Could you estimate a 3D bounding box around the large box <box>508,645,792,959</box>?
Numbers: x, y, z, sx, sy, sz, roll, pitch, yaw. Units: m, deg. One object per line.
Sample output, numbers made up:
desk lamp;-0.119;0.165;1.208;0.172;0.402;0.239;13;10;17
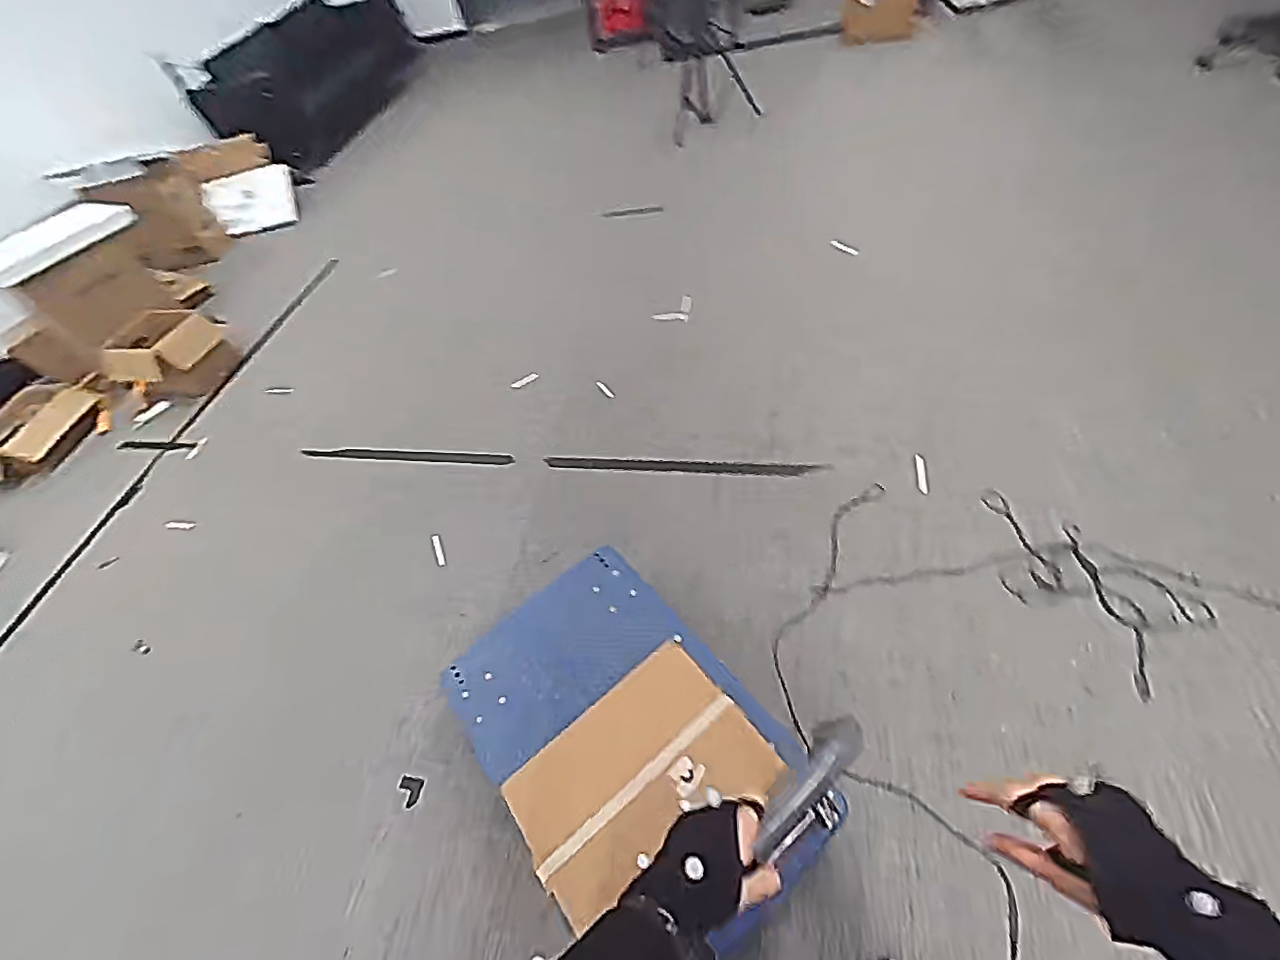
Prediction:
large box;0.035;0.608;1.025;0.408;0.320;0.320;-36;54;-16
